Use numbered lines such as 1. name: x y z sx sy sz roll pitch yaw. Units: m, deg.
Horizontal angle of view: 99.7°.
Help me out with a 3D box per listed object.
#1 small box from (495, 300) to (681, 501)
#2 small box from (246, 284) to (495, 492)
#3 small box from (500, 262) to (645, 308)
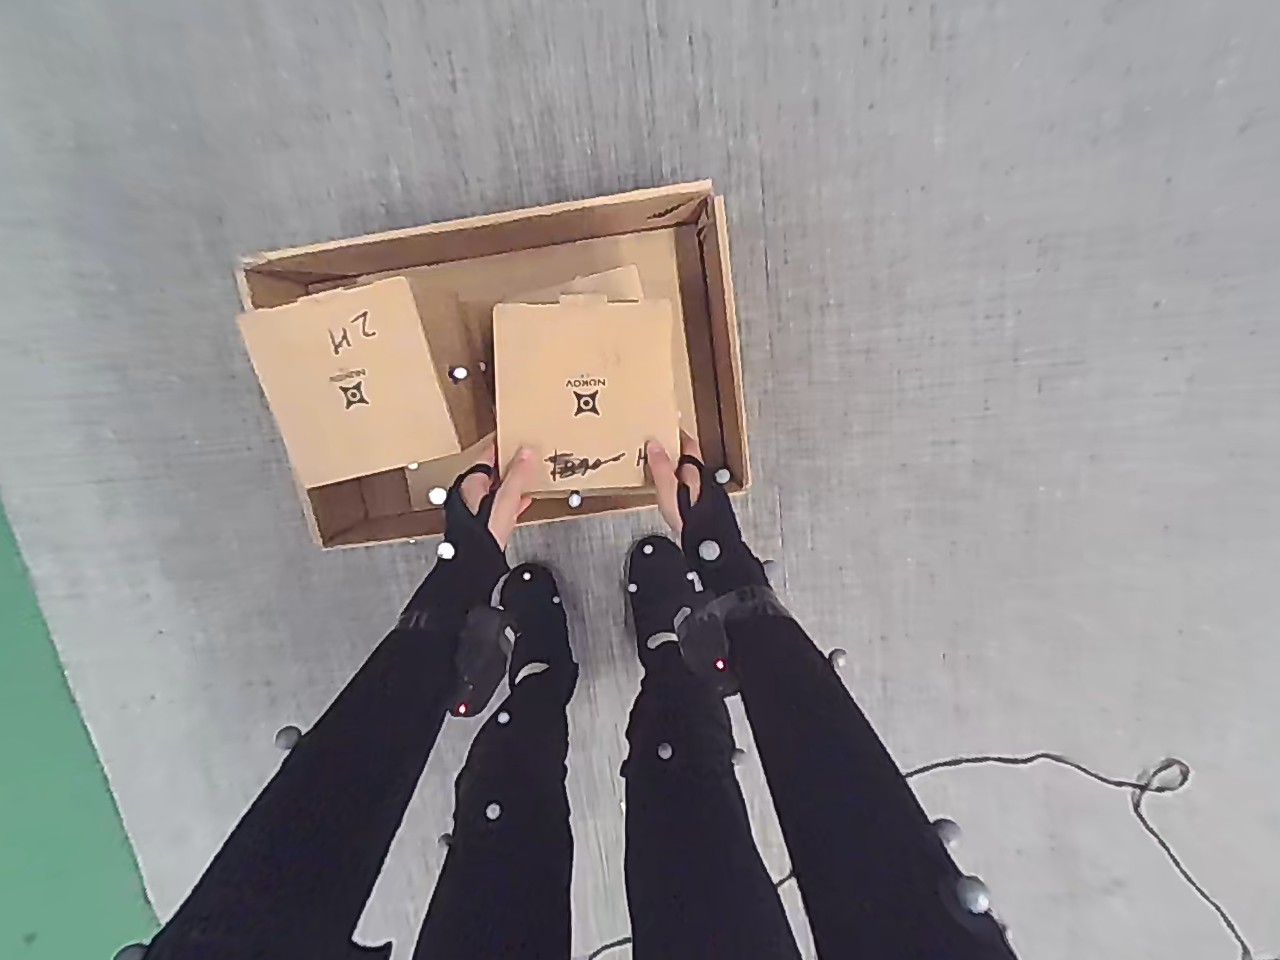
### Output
1. small box: -0.051 -0.071 0.573 0.168 0.176 0.179 -4 86 -1
2. small box: -0.278 -0.106 0.608 0.168 0.176 0.179 -14 104 1
3. small box: -0.067 -0.184 0.752 0.179 0.176 0.168 -15 103 5
